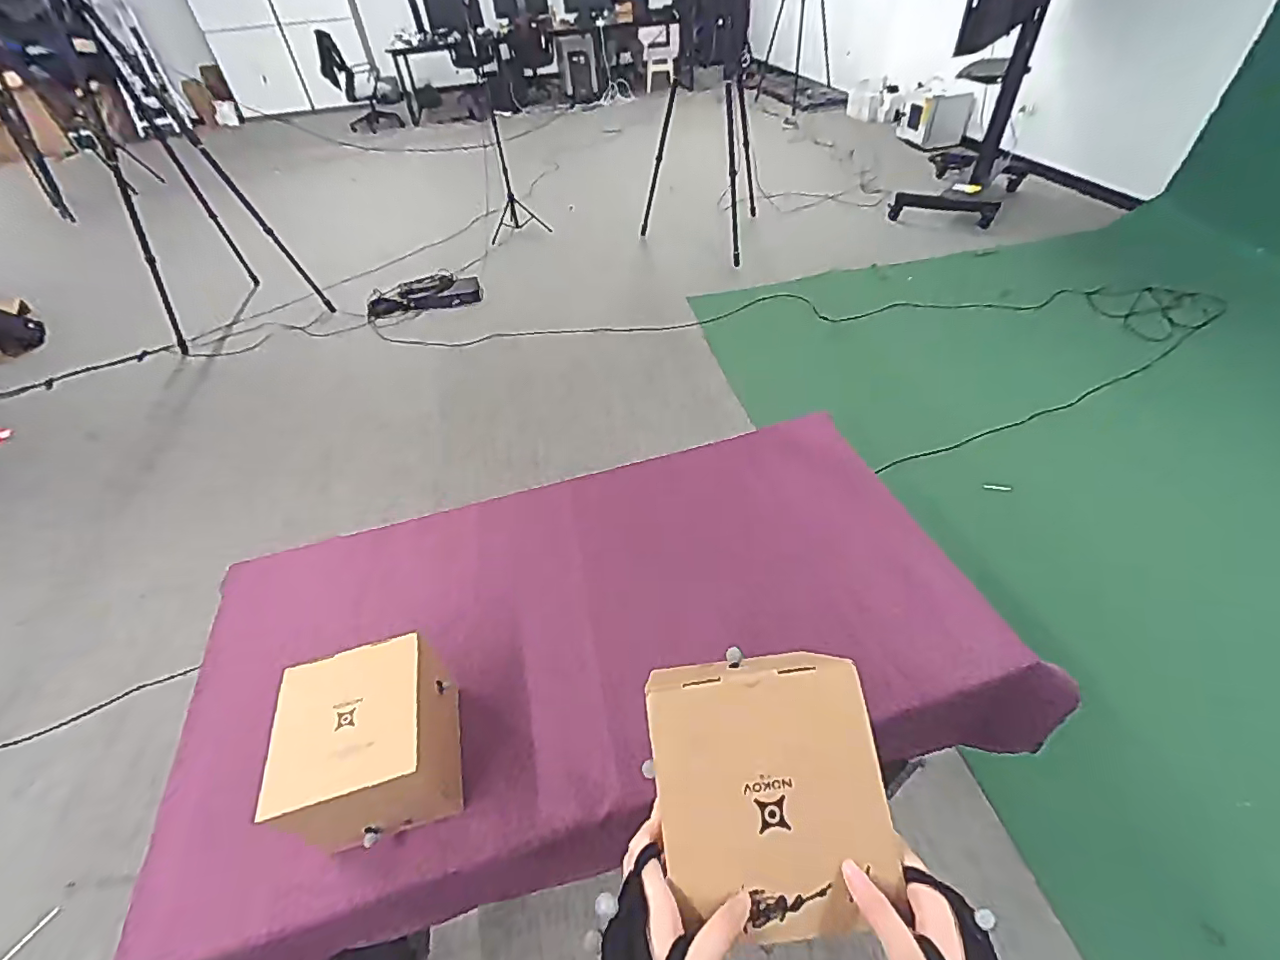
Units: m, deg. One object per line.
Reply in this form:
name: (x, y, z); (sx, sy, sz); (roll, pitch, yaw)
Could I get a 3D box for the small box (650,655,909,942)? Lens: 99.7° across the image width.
small box: (0.101, 0.253, 0.476); (0.168, 0.176, 0.179); (-8, 74, 2)

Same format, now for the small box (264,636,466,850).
small box: (-0.328, 0.332, 0.685); (0.168, 0.176, 0.179); (-14, 47, -7)
